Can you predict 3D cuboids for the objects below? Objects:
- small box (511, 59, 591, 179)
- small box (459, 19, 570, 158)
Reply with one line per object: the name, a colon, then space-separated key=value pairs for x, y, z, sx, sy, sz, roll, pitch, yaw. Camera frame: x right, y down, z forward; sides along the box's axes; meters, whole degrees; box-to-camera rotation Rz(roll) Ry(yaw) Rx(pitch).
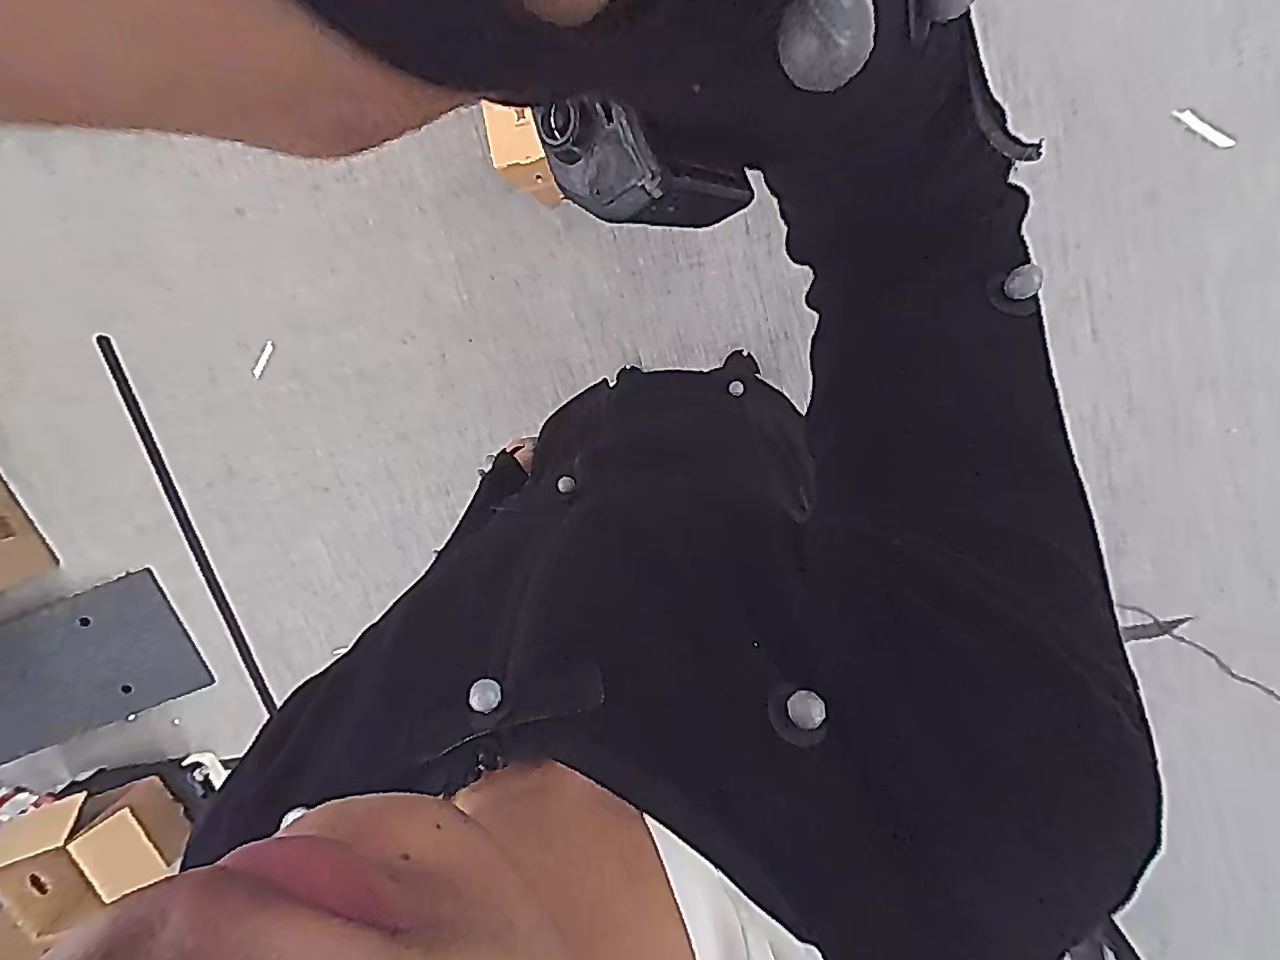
small box: x=-0.230 y=-0.863 z=1.310 sx=0.168 sy=0.176 sz=0.179 roll=-10 pitch=103 yaw=11
small box: x=-0.260 y=-0.824 z=1.157 sx=0.168 sy=0.176 sz=0.179 roll=-7 pitch=105 yaw=10
